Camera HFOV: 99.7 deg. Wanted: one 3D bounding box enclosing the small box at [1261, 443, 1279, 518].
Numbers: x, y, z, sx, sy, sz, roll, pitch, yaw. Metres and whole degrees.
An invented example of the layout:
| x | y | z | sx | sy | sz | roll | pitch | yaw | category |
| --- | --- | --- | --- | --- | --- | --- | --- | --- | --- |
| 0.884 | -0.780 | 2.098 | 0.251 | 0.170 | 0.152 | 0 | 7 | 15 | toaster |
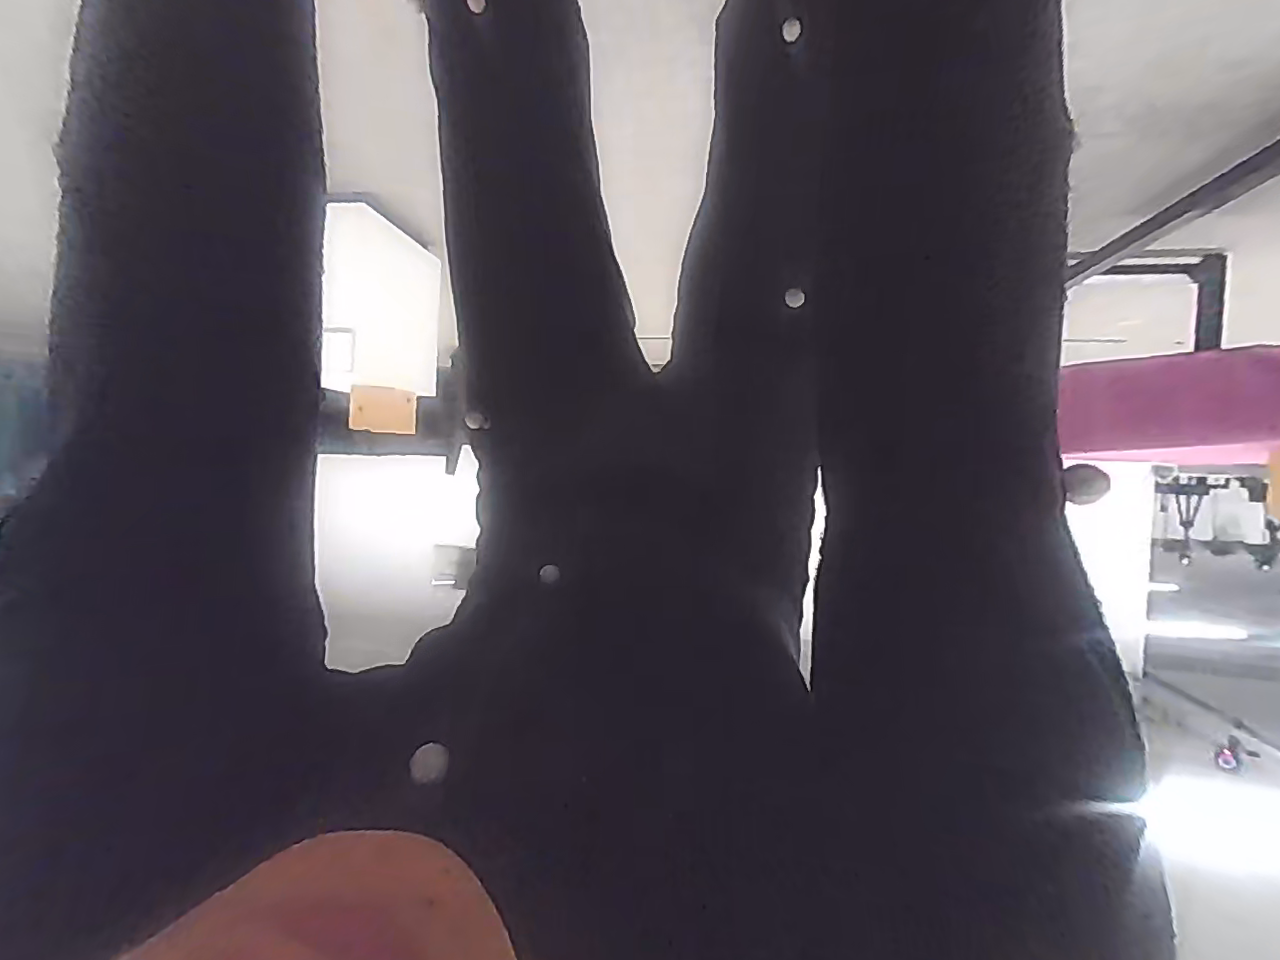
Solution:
| x | y | z | sx | sy | sz | roll | pitch | yaw | category |
| --- | --- | --- | --- | --- | --- | --- | --- | --- | --- |
| 1.515 | 0.007 | 1.158 | 0.179 | 0.176 | 0.168 | 4 | -178 | 9 | small box |

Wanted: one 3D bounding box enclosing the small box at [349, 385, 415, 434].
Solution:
| x | y | z | sx | sy | sz | roll | pitch | yaw | category |
| --- | --- | --- | --- | --- | --- | --- | --- | --- | --- |
| -0.995 | -0.275 | 2.096 | 0.179 | 0.176 | 0.168 | 4 | -178 | 6 | small box |
